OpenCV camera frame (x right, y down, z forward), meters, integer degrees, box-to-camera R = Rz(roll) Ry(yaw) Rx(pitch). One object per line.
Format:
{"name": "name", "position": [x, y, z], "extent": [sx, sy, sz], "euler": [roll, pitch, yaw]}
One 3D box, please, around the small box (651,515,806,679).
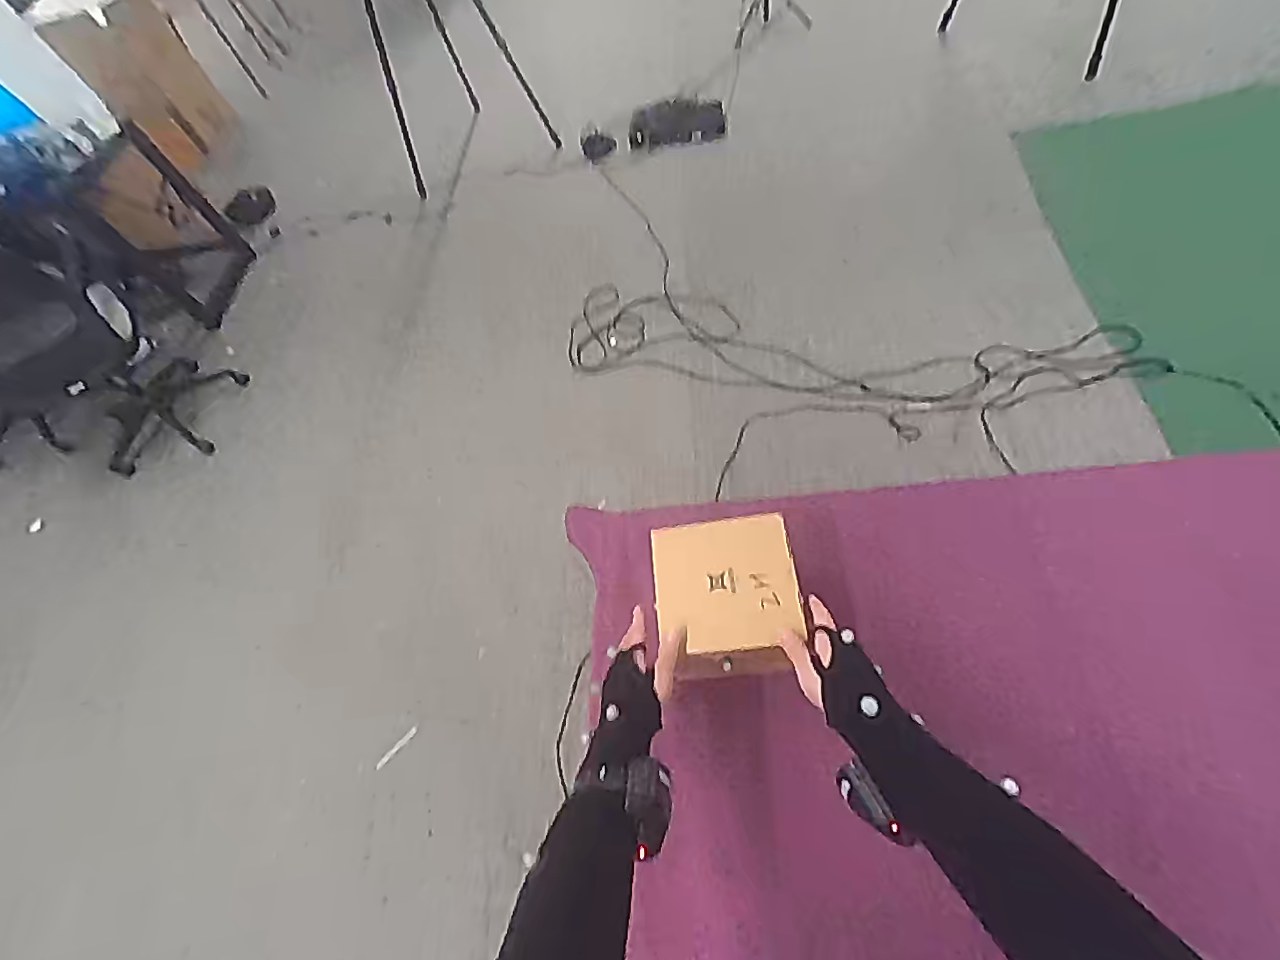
{"name": "small box", "position": [0.119, 0.166, 0.731], "extent": [0.179, 0.176, 0.168], "euler": [-9, 59, 8]}
